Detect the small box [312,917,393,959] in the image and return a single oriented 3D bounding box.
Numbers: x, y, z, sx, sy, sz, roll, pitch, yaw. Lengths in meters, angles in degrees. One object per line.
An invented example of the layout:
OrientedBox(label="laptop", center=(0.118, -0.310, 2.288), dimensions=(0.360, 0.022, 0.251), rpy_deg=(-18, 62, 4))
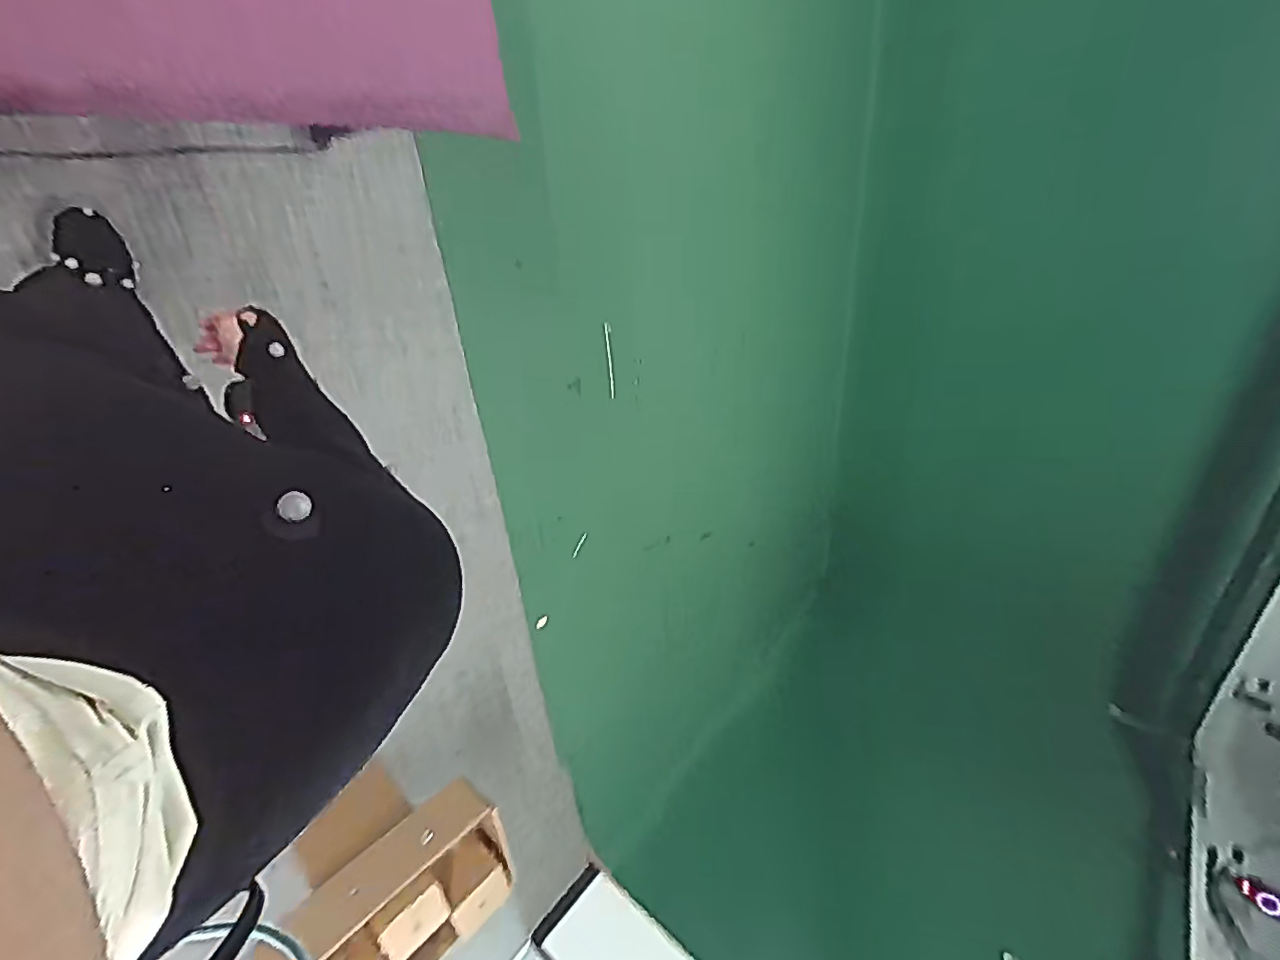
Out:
OrientedBox(label="small box", center=(-0.774, 1.366, 1.484), dimensions=(0.168, 0.176, 0.179), rpy_deg=(-28, 124, -40))
